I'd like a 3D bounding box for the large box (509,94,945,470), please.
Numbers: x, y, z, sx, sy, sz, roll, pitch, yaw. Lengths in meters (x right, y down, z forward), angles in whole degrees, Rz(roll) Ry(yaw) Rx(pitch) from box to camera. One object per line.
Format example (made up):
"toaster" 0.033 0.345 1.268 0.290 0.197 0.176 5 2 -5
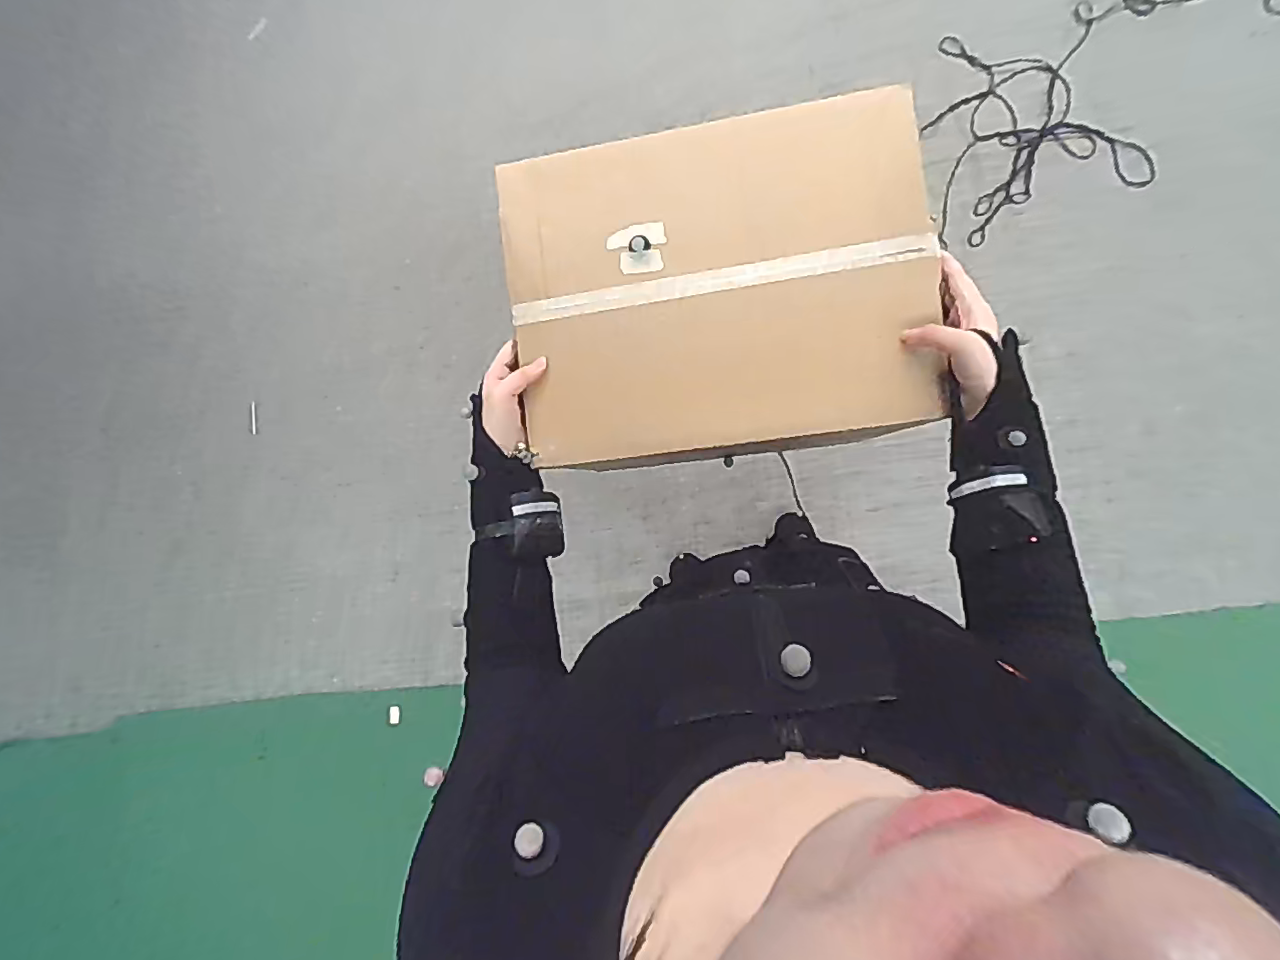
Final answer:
"large box" 0.098 -0.190 0.683 0.408 0.320 0.320 -7 89 9
